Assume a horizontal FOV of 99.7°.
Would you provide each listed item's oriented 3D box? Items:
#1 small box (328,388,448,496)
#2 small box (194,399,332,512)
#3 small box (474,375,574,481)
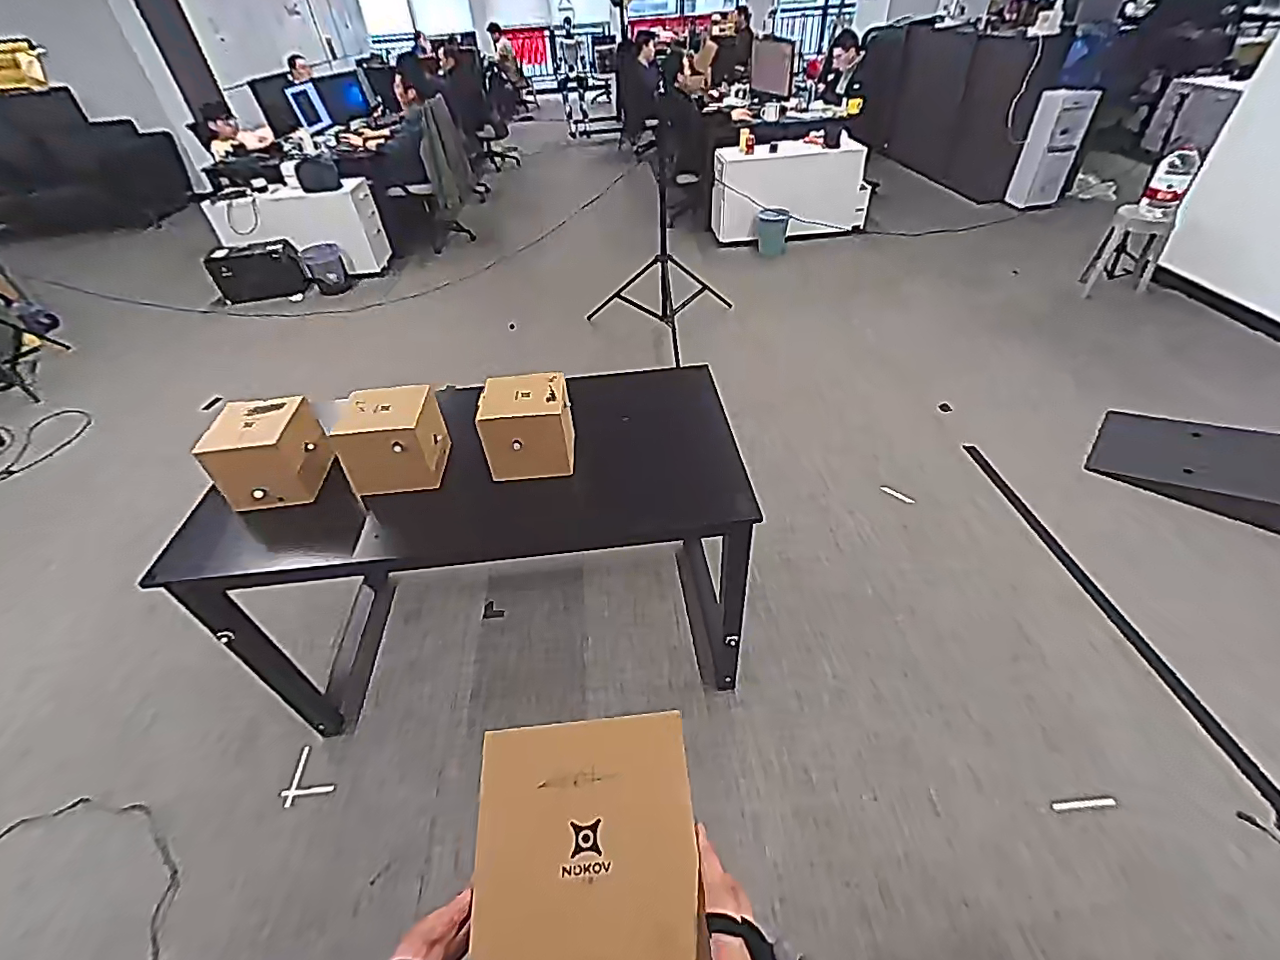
[{"bbox_3d":[-0.540,-0.083,1.191,0.179,0.176,0.168,-6,41,-2],"label":"small box"},{"bbox_3d":[-0.806,-0.054,1.182,0.168,0.176,0.179,-7,43,-3],"label":"small box"},{"bbox_3d":[-0.249,-0.113,1.203,0.179,0.176,0.168,-5,42,0],"label":"small box"}]
